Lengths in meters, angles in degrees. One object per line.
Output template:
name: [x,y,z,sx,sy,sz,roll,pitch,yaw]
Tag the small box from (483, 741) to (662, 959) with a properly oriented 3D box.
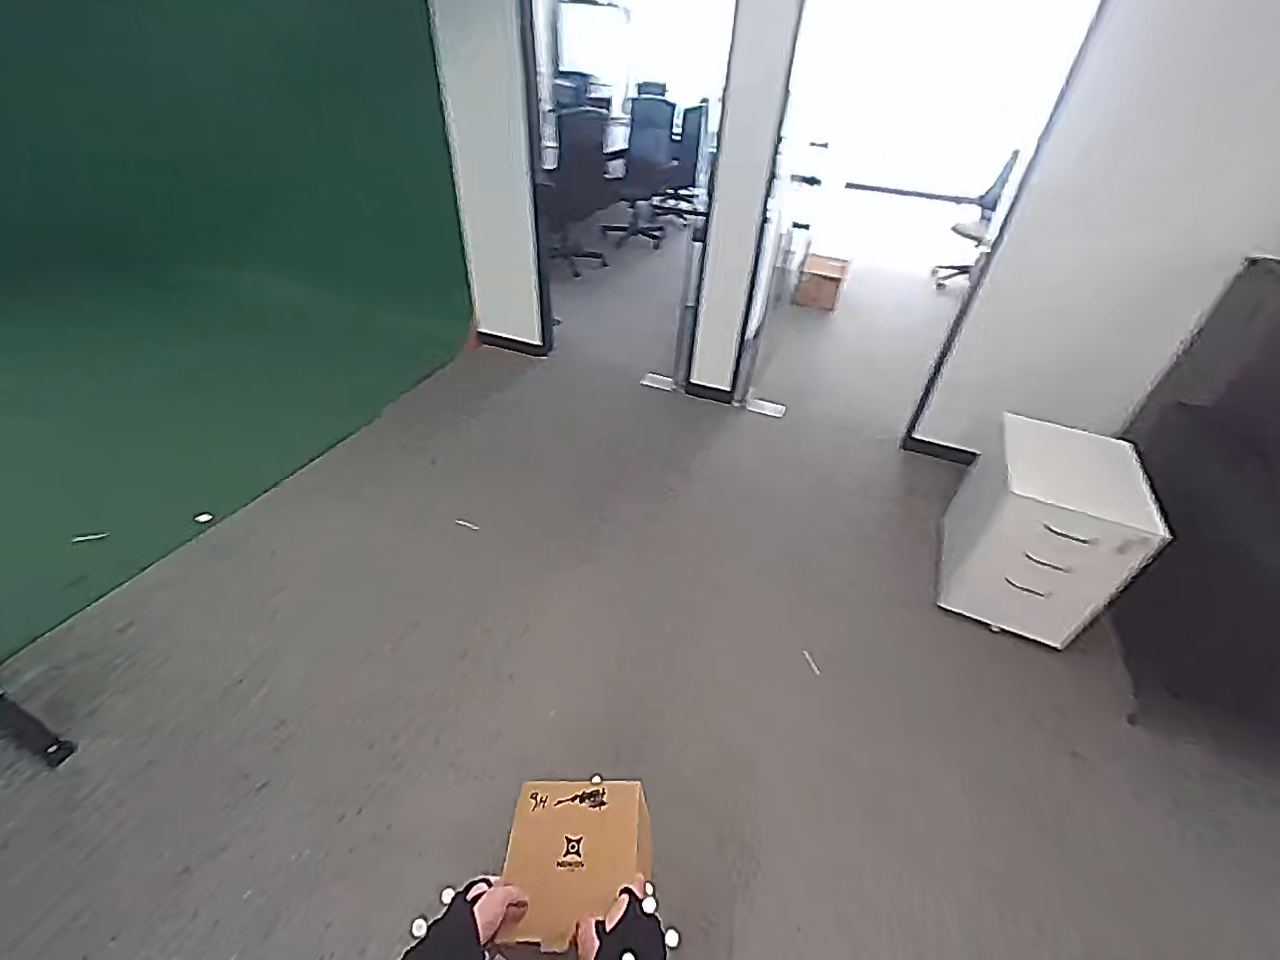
small box: [-0.087,0.504,0.730,0.179,0.176,0.168,-23,39,-18]
